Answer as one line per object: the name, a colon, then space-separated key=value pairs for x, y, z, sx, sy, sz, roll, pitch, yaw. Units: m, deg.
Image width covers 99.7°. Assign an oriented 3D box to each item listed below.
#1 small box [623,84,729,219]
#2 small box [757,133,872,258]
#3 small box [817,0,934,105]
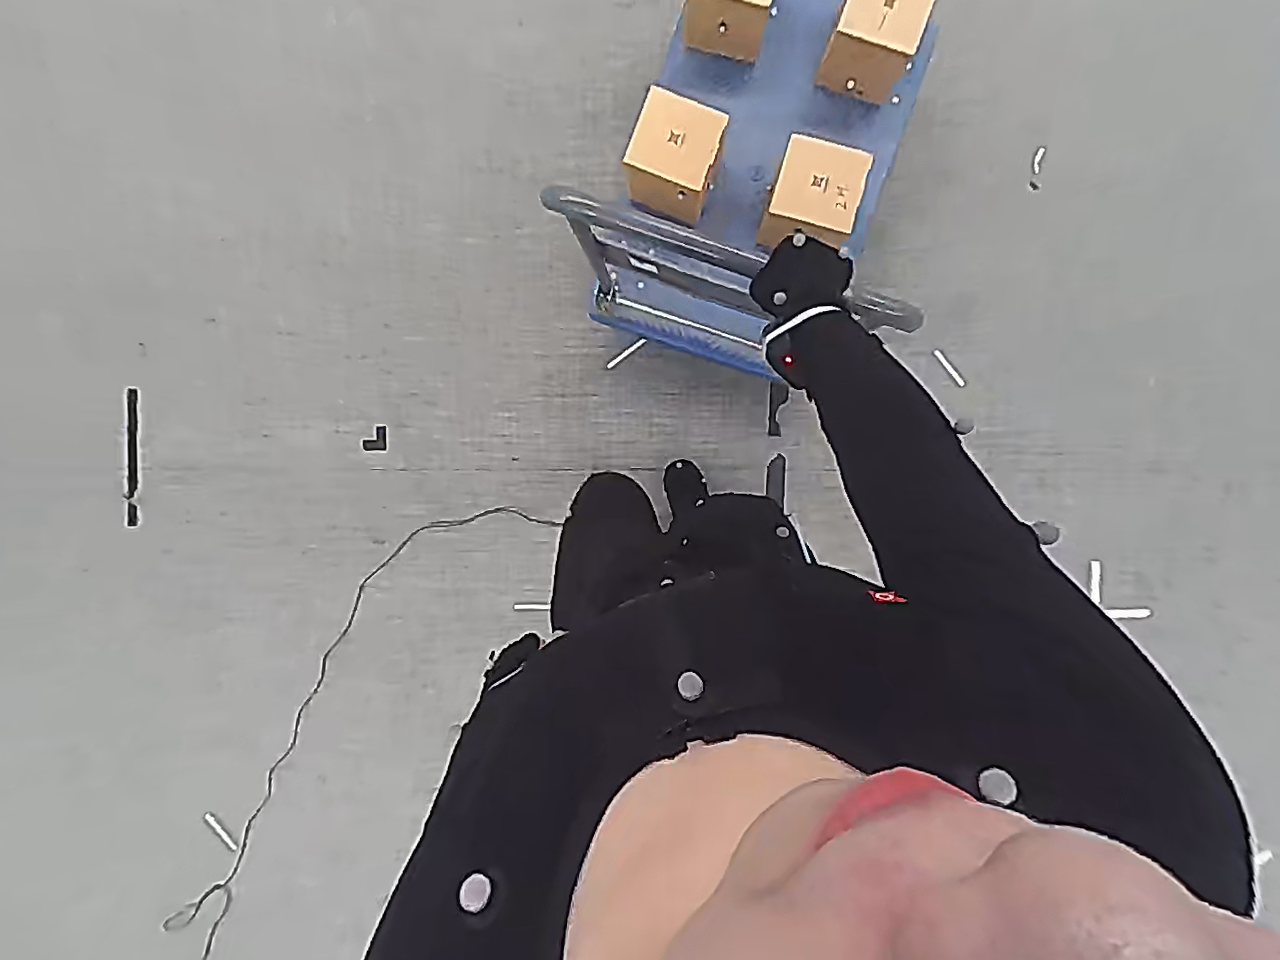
small box: x=0.075 y=-0.707 z=1.187 sx=0.179 sy=0.176 sz=0.168 roll=22 pitch=94 yaw=0
small box: x=0.368 y=-0.608 z=1.179 sx=0.179 sy=0.176 sz=0.168 roll=17 pitch=94 yaw=2
small box: x=0.500 y=-0.959 z=1.153 sx=0.168 sy=0.176 sz=0.179 roll=20 pitch=95 yaw=1
